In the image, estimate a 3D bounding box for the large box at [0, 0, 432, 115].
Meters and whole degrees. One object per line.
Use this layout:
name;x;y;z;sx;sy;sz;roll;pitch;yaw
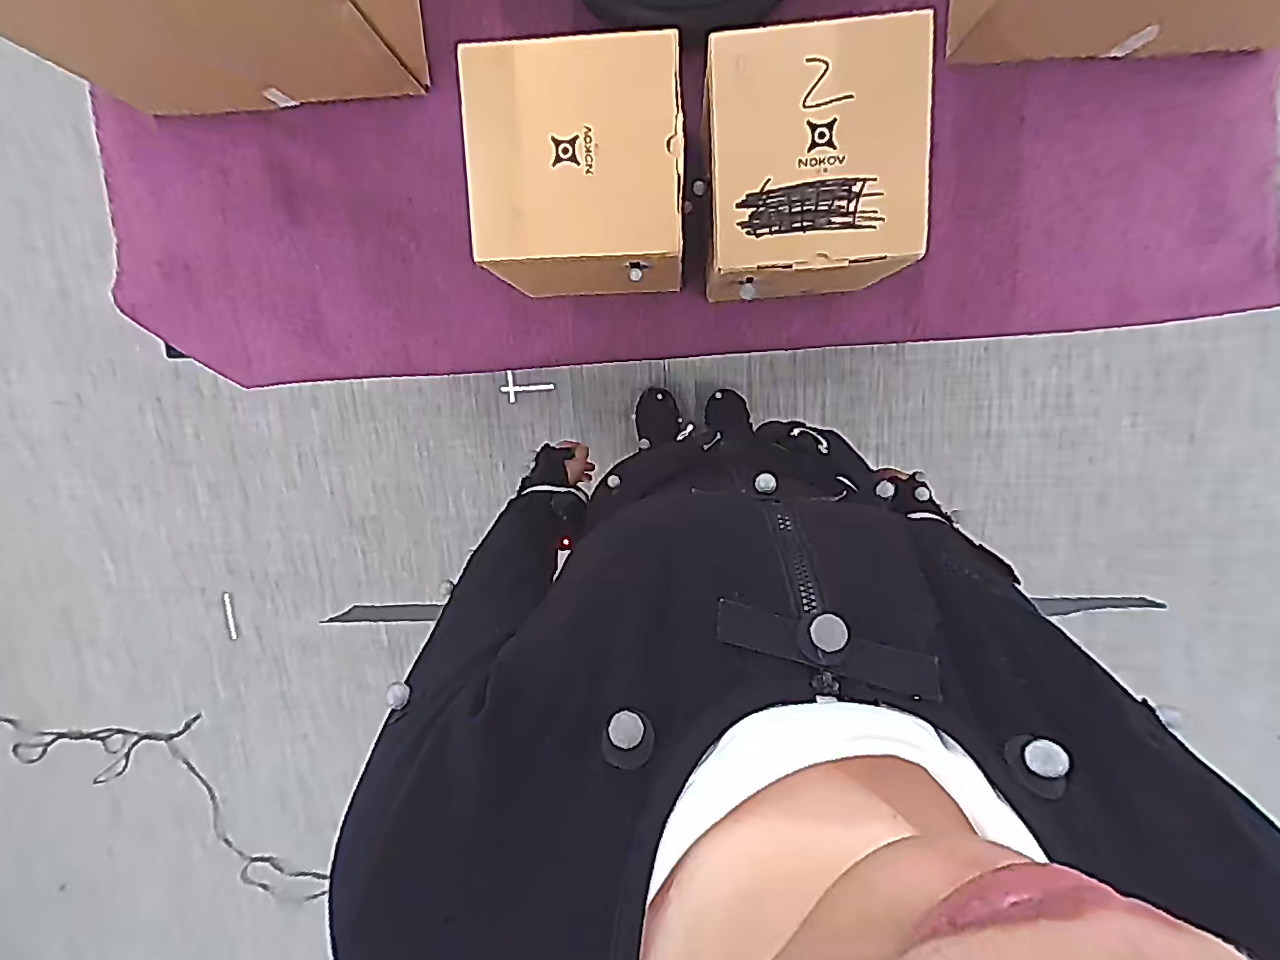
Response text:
large box;-0.391;-0.572;0.405;0.320;0.320;0.408;-4;103;3
